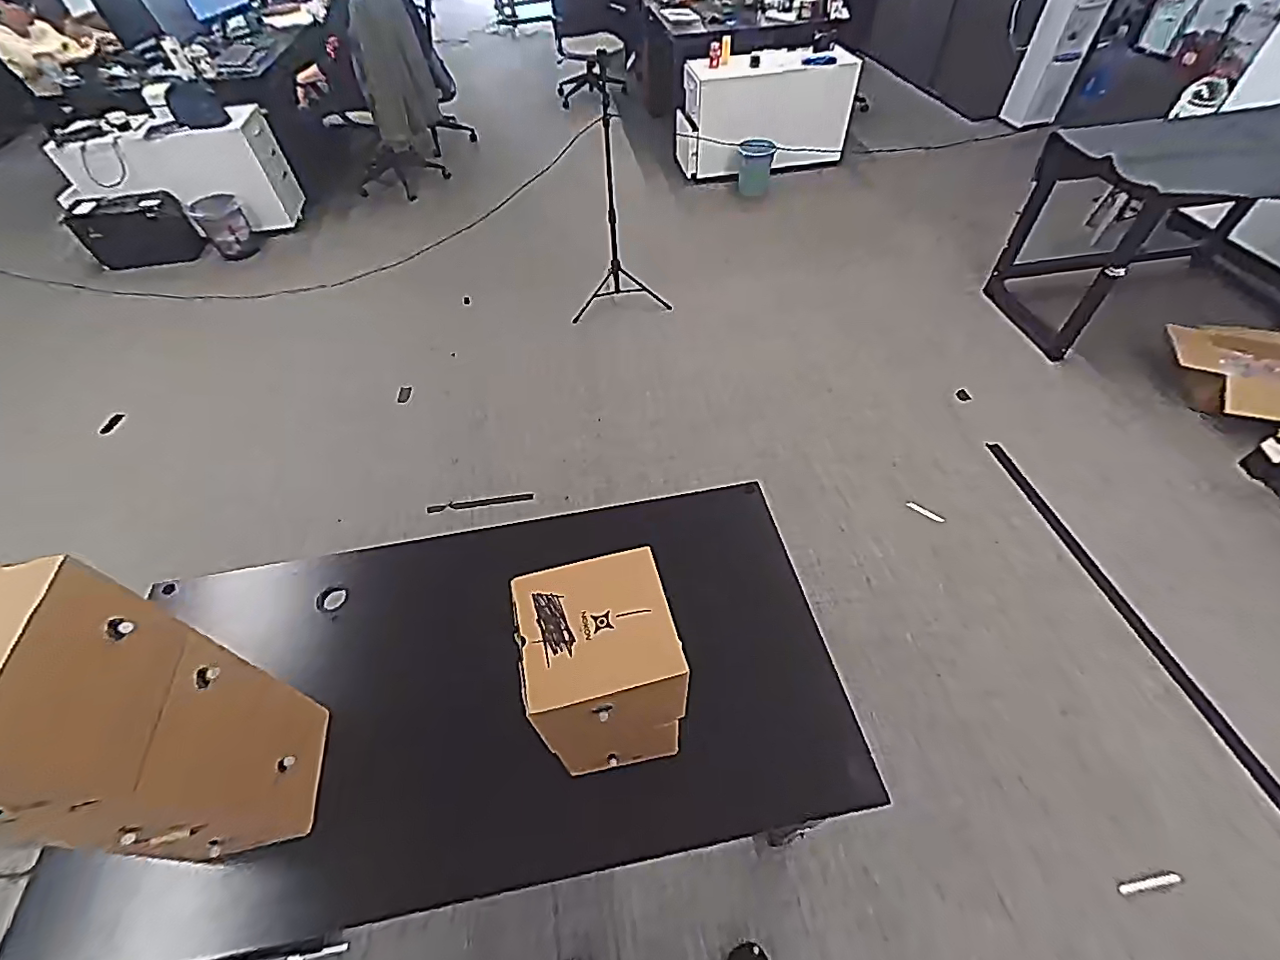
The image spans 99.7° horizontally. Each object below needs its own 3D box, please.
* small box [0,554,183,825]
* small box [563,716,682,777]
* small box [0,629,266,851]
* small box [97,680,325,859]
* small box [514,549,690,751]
[{"bbox_3d":[-0.578,0.197,0.495,0.168,0.176,0.179,-11,51,-5],"label":"small box"},{"bbox_3d":[-0.039,0.313,0.798,0.168,0.176,0.179,-10,51,-5],"label":"small box"},{"bbox_3d":[-0.572,0.299,0.622,0.168,0.176,0.179,-11,51,-5],"label":"small box"},{"bbox_3d":[-0.566,0.405,0.748,0.168,0.176,0.179,-11,52,-6],"label":"small box"},{"bbox_3d":[-0.045,0.213,0.667,0.179,0.176,0.168,-12,52,-8],"label":"small box"}]
